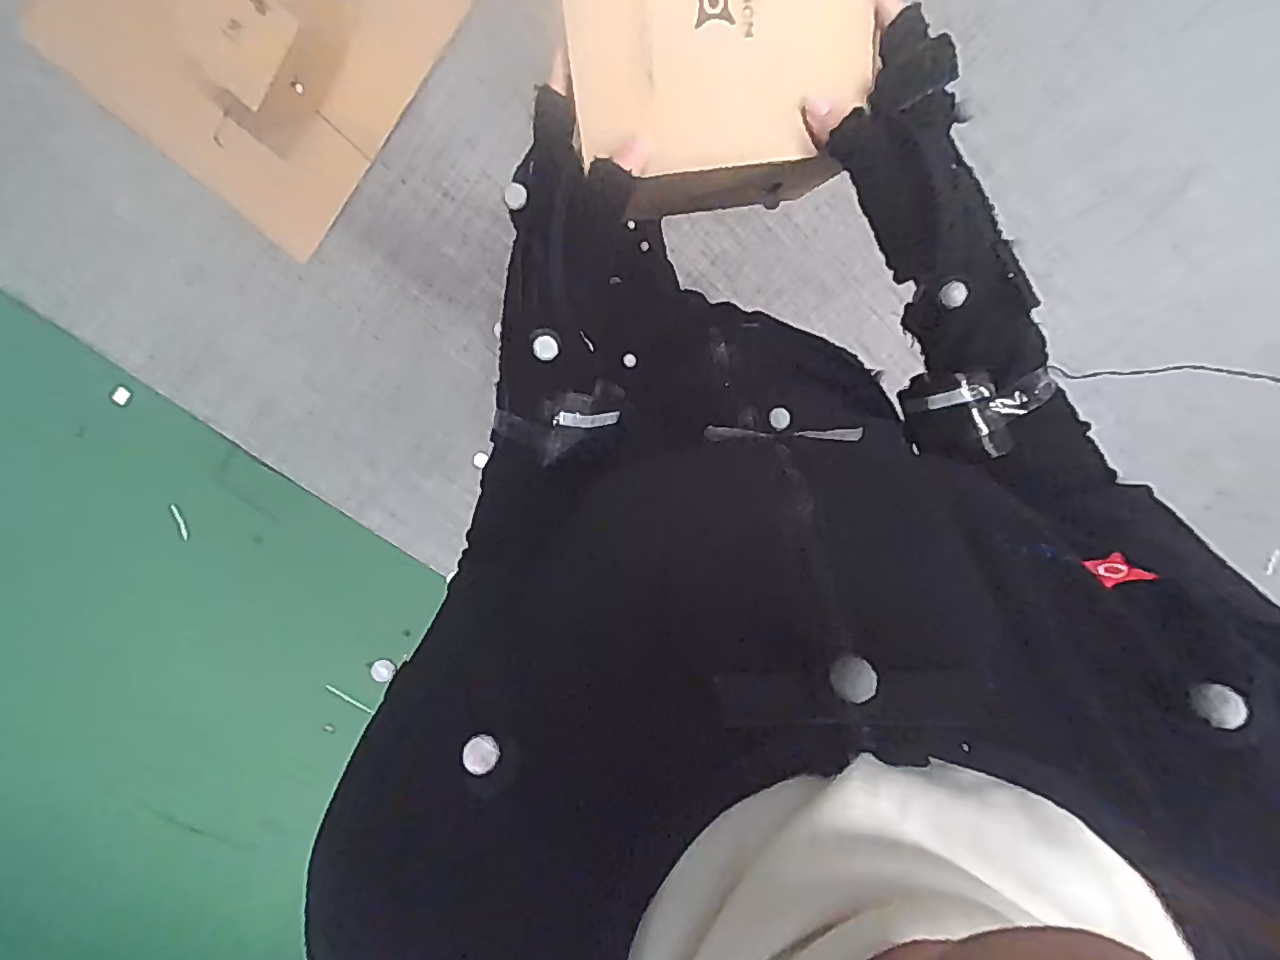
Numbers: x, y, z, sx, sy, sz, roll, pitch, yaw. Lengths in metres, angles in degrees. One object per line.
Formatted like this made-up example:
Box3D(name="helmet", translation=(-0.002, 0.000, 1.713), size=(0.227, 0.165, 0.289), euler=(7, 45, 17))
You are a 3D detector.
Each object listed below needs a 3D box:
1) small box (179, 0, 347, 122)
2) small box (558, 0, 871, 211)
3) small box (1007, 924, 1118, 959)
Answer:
Box3D(name="small box", translation=(-0.686, -0.806, 1.003), size=(0.168, 0.176, 0.179), euler=(37, 112, -14))
Box3D(name="small box", translation=(0.040, -0.299, 0.376), size=(0.179, 0.176, 0.168), euler=(-7, 107, 3))
Box3D(name="small box", translation=(0.923, 1.074, 1.128), size=(0.179, 0.176, 0.168), euler=(36, 111, -15))
